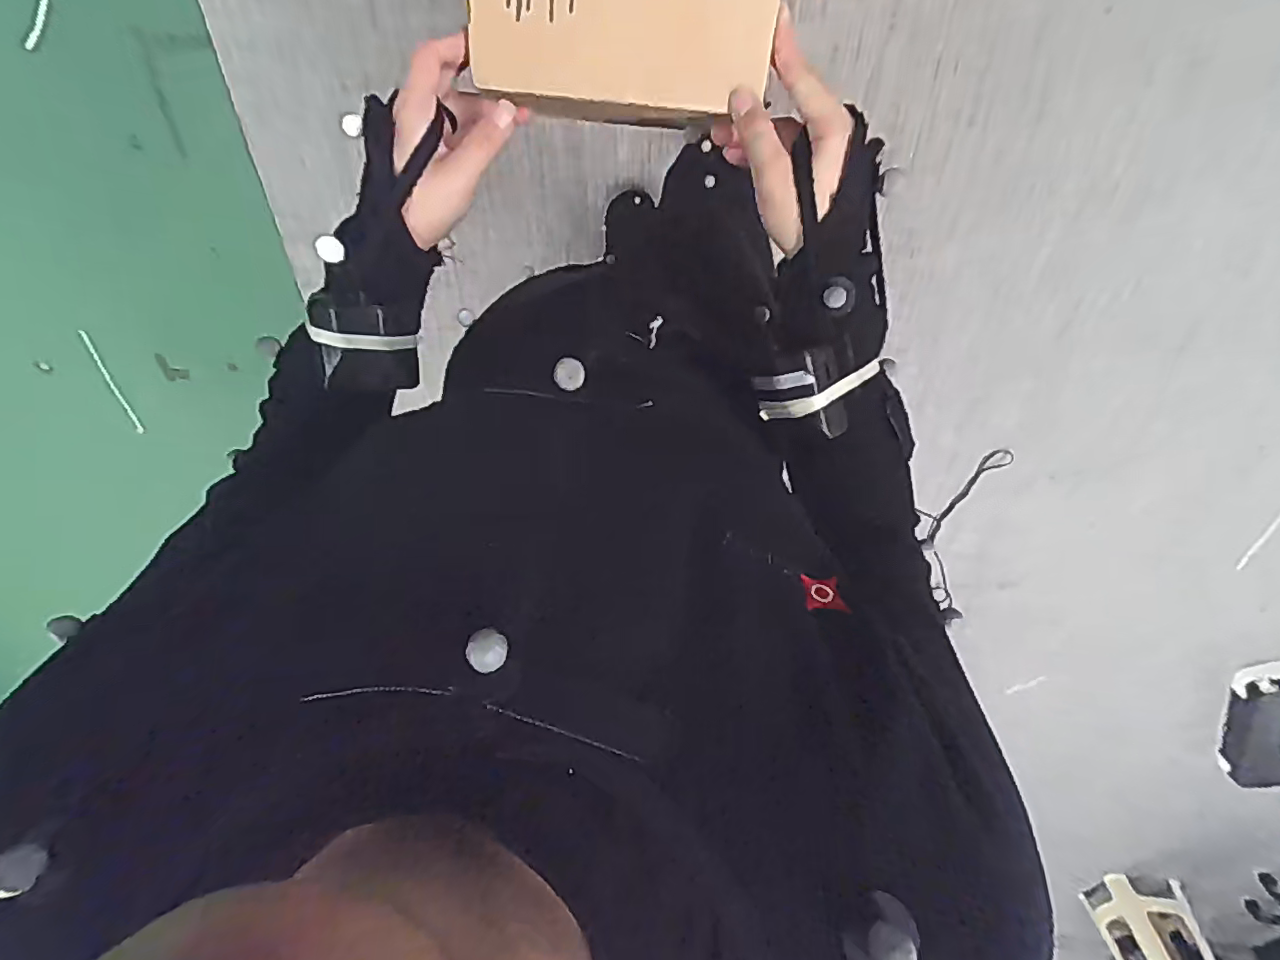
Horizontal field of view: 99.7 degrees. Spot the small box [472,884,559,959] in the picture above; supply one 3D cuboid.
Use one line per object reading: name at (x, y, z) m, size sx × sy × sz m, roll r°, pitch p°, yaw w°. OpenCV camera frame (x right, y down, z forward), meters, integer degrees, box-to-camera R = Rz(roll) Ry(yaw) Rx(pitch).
small box at (-0.326, 1.213, 1.450) m, size 0.168 × 0.176 × 0.179 m, roll -2°, pitch 127°, yaw 9°
